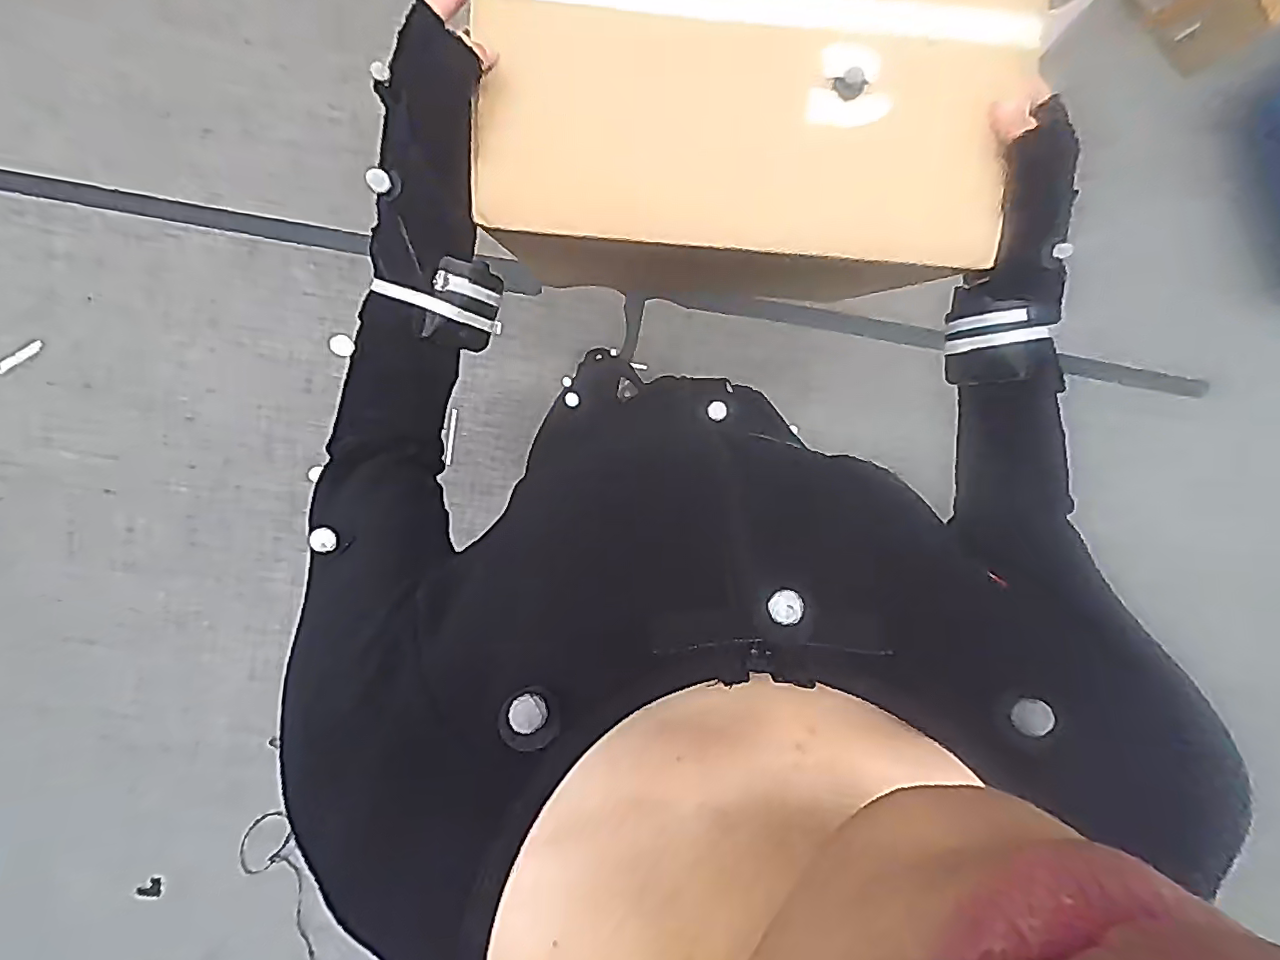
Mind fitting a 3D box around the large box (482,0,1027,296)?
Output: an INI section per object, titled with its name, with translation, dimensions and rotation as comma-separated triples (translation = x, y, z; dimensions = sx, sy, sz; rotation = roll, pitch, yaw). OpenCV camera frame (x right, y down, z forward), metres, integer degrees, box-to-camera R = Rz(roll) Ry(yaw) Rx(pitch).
[large box]
translation = 0.076, -0.370, 0.537
dimensions = 0.408, 0.320, 0.320
rotation = 3, 103, -3
